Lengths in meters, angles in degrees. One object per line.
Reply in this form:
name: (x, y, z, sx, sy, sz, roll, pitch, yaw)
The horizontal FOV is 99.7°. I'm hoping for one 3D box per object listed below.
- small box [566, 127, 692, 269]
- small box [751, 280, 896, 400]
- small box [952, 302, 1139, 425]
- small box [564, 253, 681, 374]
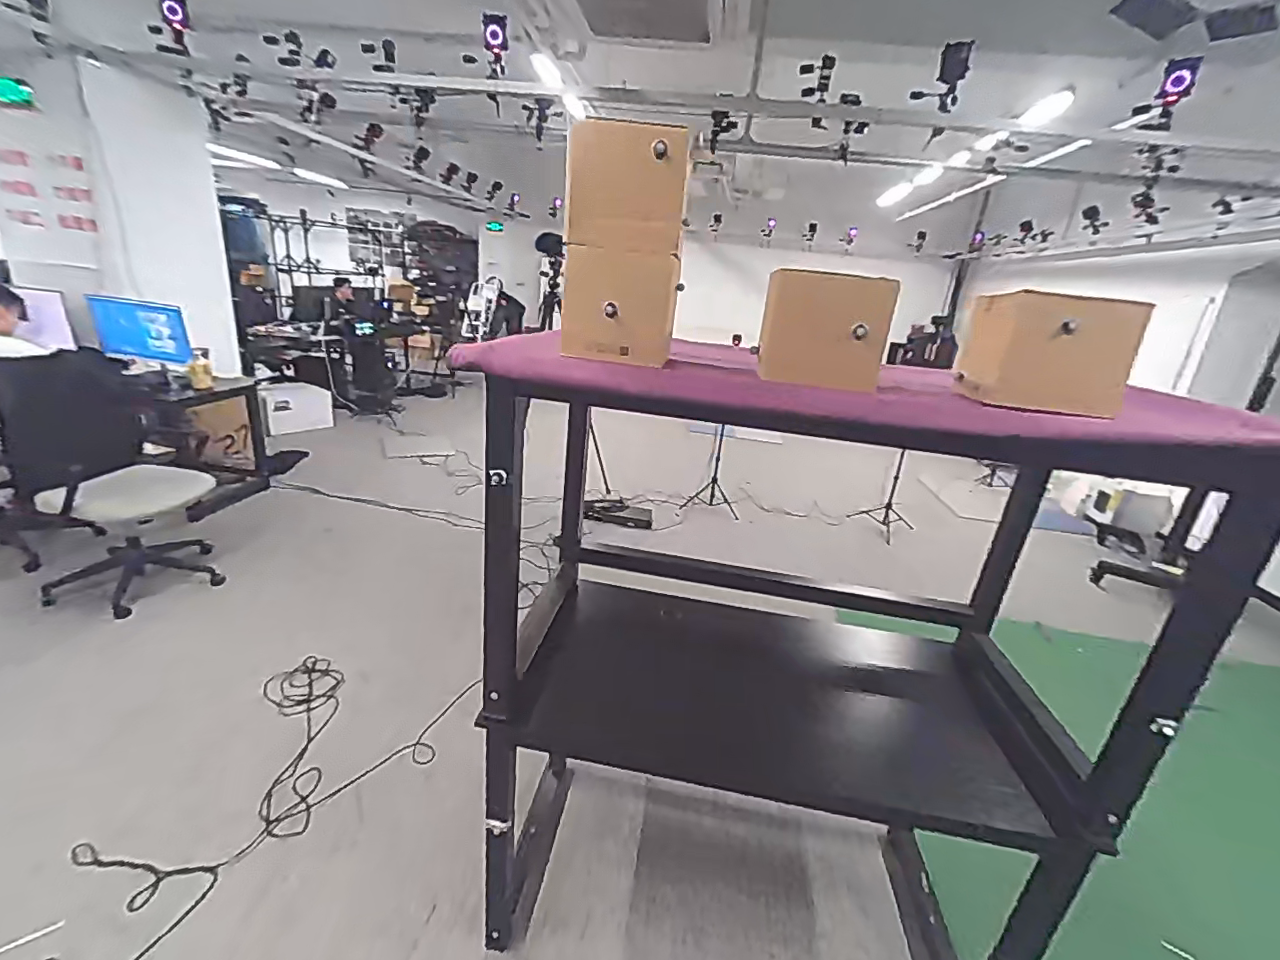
small box: (-0.015, -0.432, 0.859, 0.179, 0.176, 0.168, 9, 20, 2)
small box: (0.289, -0.230, 0.891, 0.179, 0.176, 0.168, 7, 18, 5)
small box: (0.635, -0.188, 0.878, 0.179, 0.176, 0.168, 9, 17, 7)
small box: (-0.028, -0.280, 0.914, 0.168, 0.176, 0.179, 10, 19, 4)
